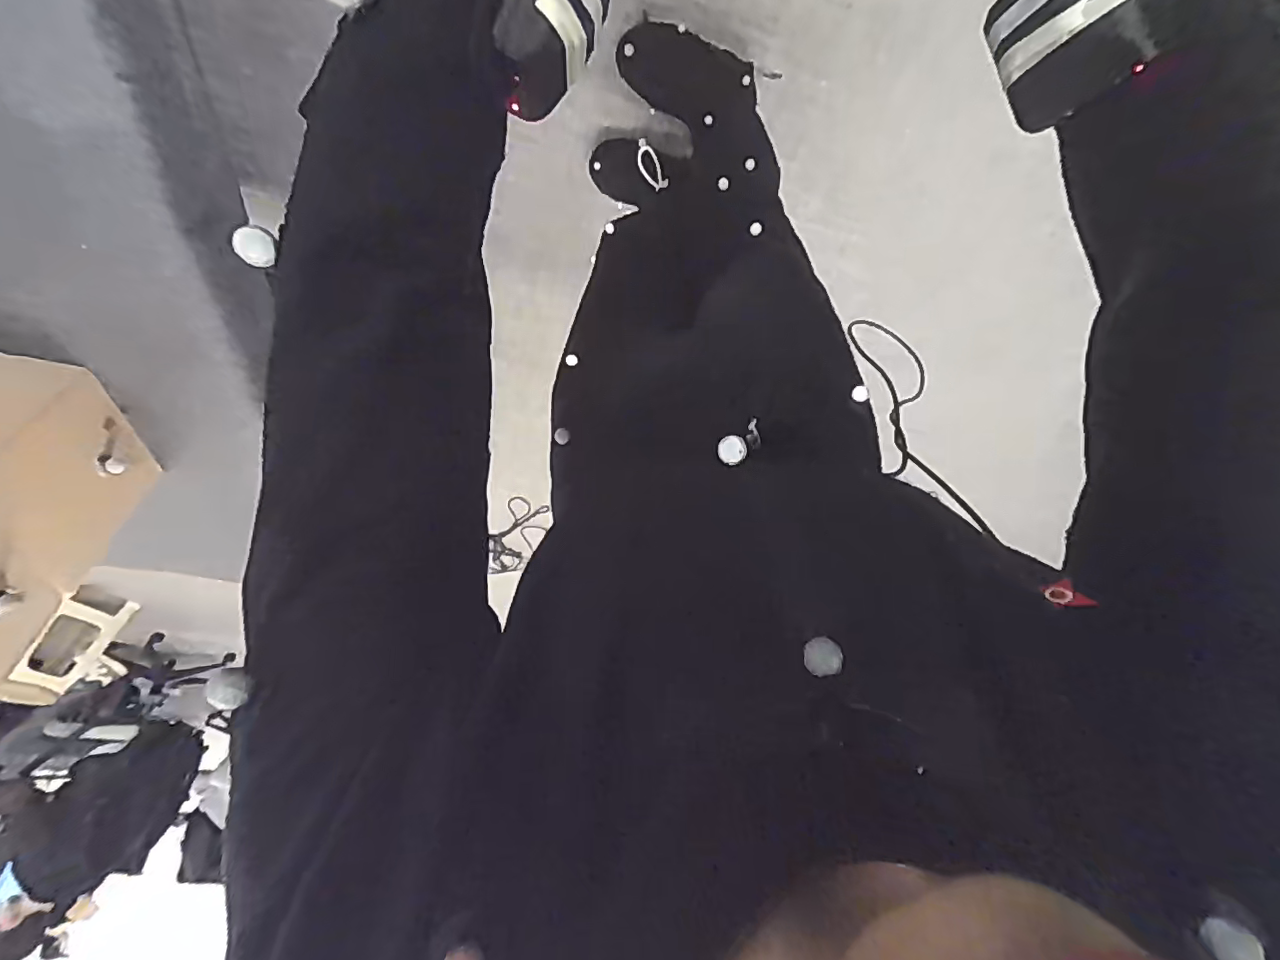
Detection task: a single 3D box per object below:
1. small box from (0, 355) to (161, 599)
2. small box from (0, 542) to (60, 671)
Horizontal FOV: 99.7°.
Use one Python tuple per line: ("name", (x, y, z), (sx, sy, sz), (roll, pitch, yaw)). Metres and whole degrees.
("small box", (-0.623, -0.009, 0.510), (0.179, 0.176, 0.168), (9, 140, -10))
("small box", (-0.625, 0.114, 0.403), (0.179, 0.176, 0.168), (9, 142, -10))
